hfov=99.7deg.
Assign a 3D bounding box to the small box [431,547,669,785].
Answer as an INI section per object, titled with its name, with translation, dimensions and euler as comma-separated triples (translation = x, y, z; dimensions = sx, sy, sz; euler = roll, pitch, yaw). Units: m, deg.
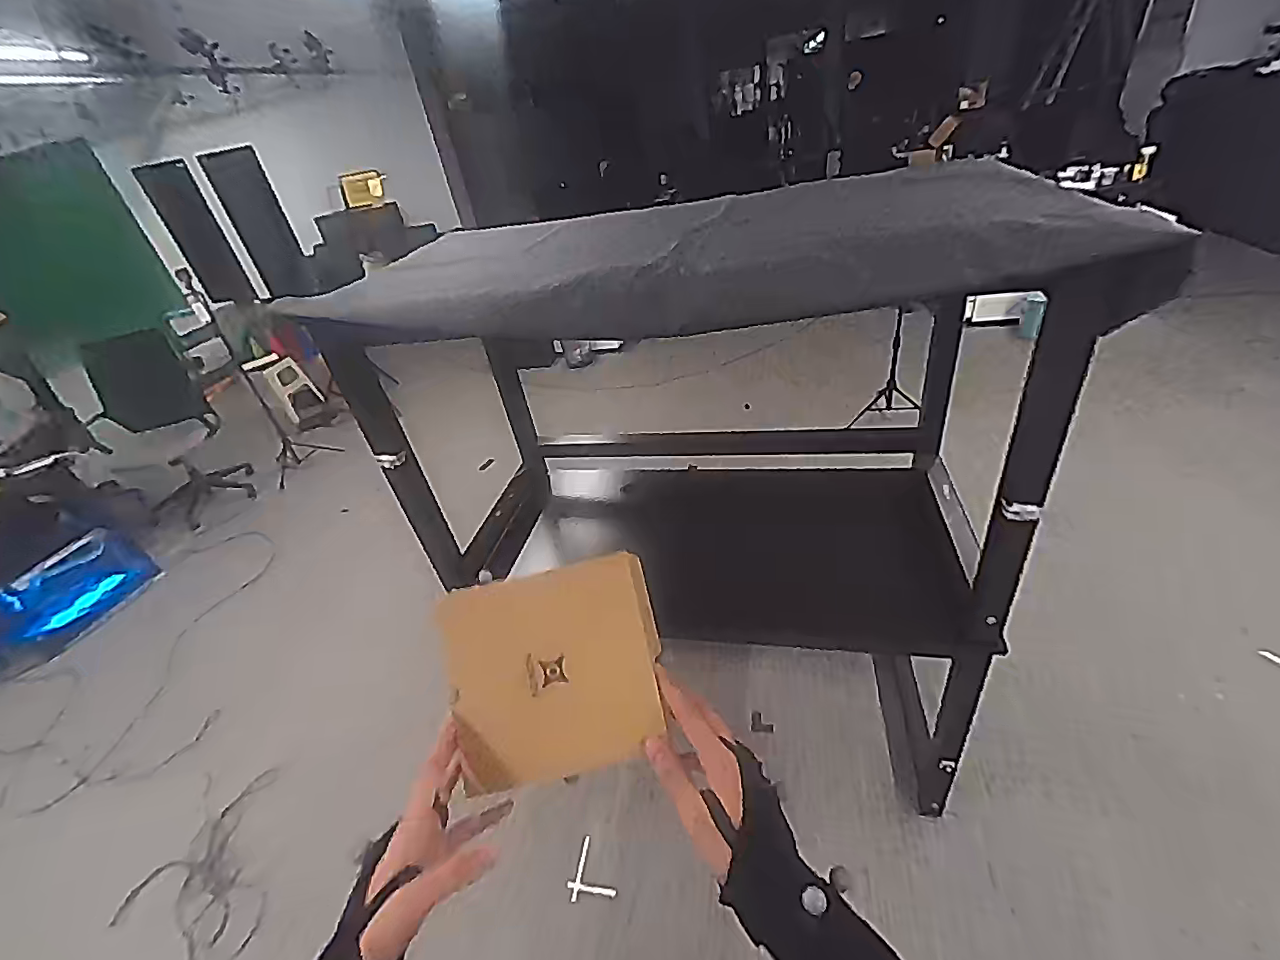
[small box]
translation = -0.073, 0.163, 0.530
dimensions = 0.179, 0.168, 0.176
euler = -14, -9, 3
